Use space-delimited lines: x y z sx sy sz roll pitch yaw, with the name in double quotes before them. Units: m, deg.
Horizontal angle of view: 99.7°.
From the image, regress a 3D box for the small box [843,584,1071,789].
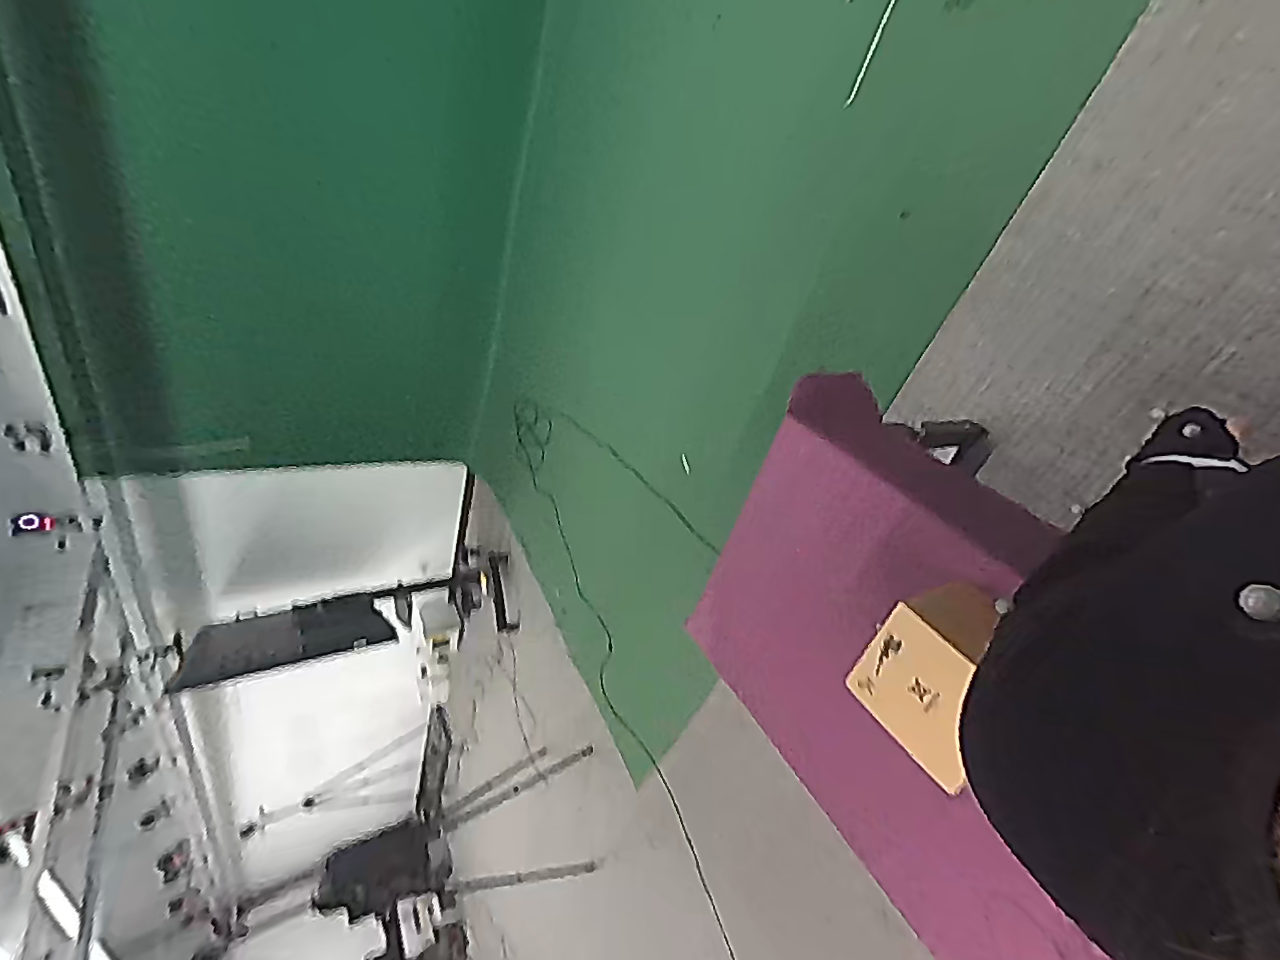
"small box" 0.422 0.262 0.727 0.179 0.176 0.168 47 130 41
